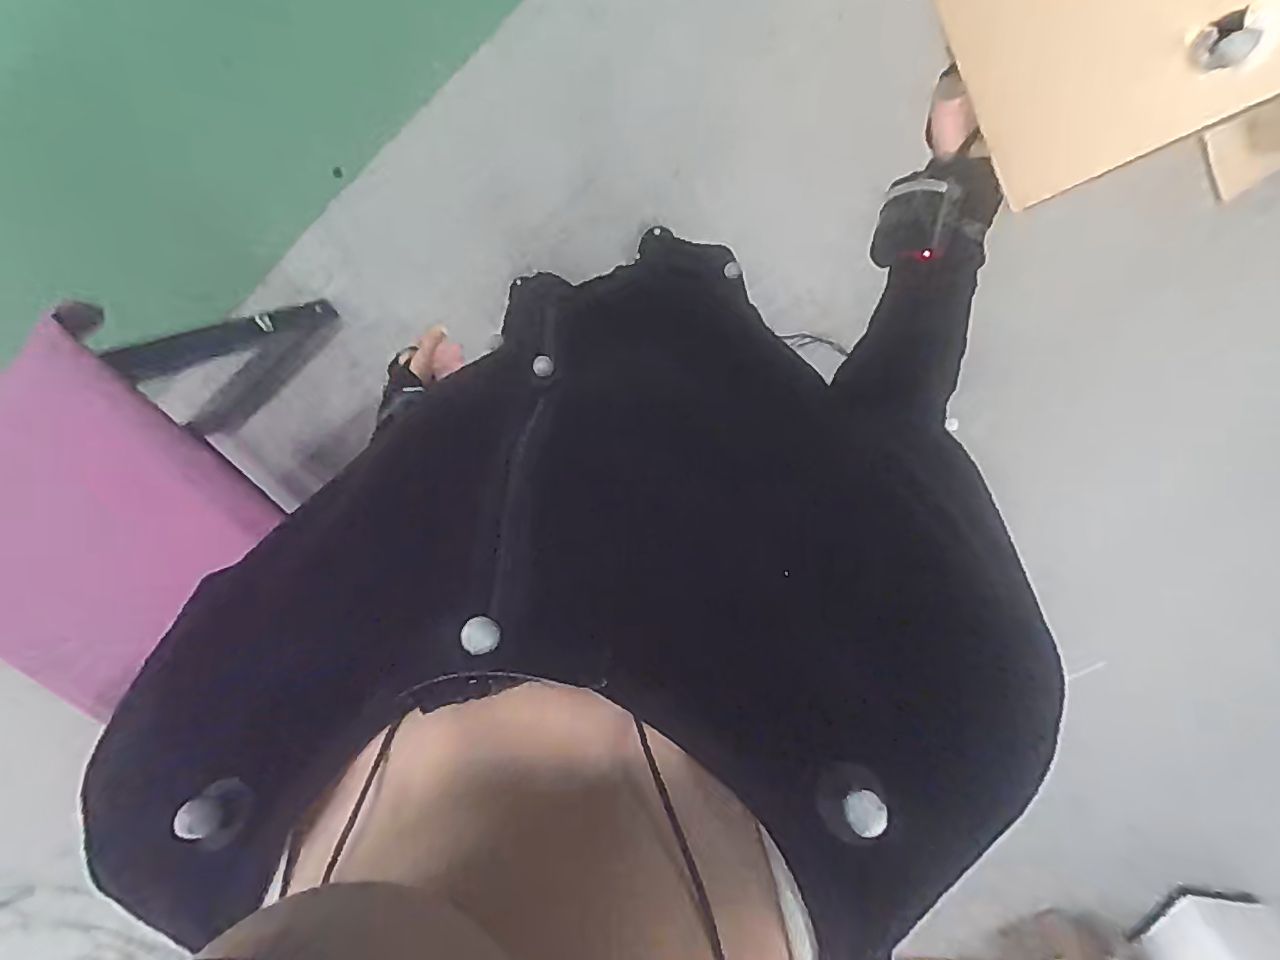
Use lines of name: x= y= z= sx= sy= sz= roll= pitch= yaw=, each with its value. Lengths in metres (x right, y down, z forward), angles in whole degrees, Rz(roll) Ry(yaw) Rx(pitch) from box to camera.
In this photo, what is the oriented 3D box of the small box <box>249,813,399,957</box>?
small box: x=-0.645 y=0.841 z=1.130 sx=0.168 sy=0.176 sz=0.179 roll=-22 pitch=112 yaw=11
